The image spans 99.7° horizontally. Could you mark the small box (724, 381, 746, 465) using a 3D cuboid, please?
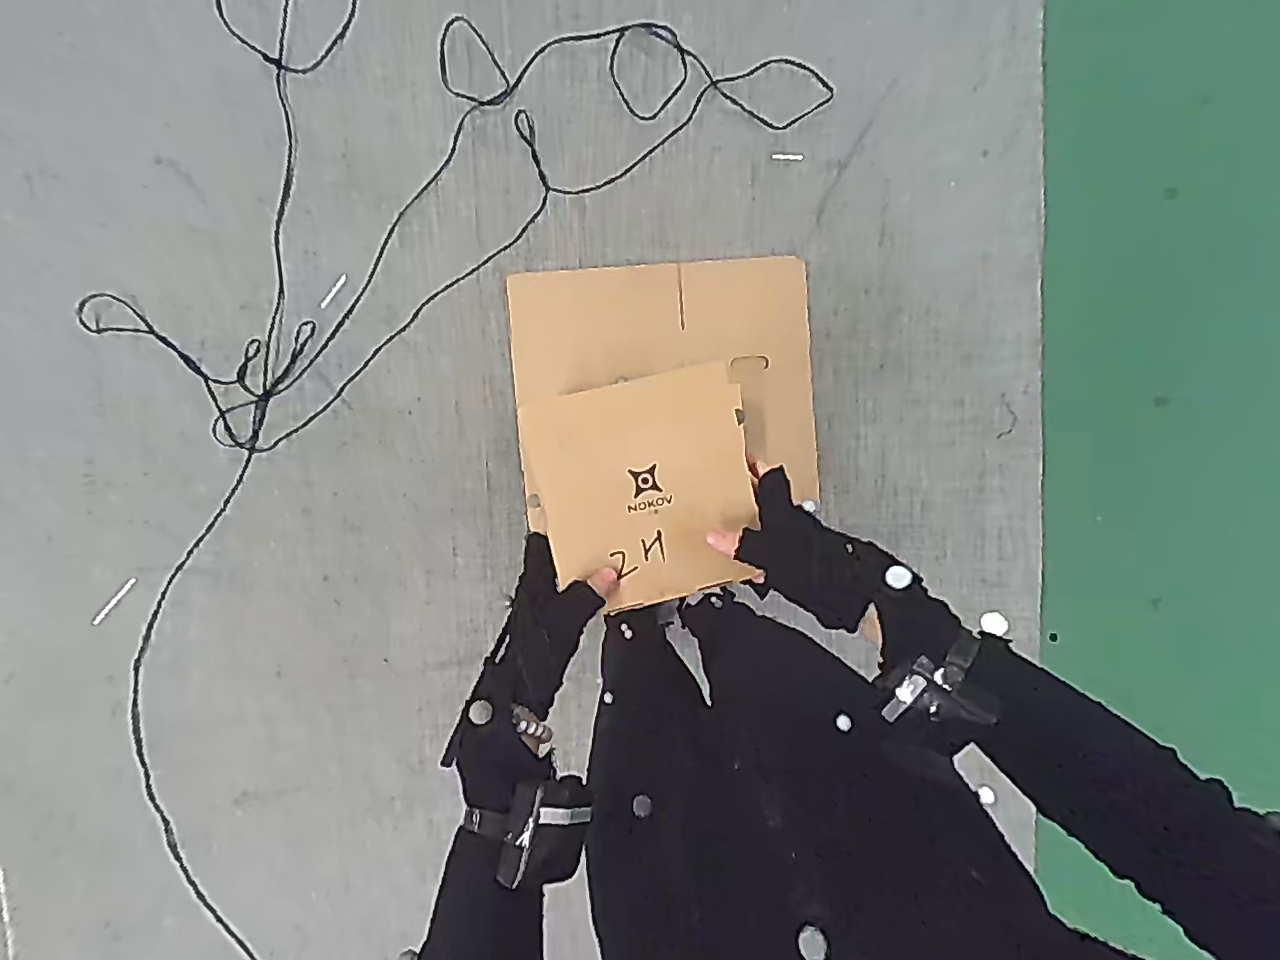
[{"bbox_3d":[0.128,-0.114,1.191,0.168,0.176,0.179,-6,94,-2],"label":"small box"}]

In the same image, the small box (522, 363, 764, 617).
[{"bbox_3d":[-0.002,0.005,0.507,0.168,0.176,0.179,-13,94,-2],"label":"small box"}]
